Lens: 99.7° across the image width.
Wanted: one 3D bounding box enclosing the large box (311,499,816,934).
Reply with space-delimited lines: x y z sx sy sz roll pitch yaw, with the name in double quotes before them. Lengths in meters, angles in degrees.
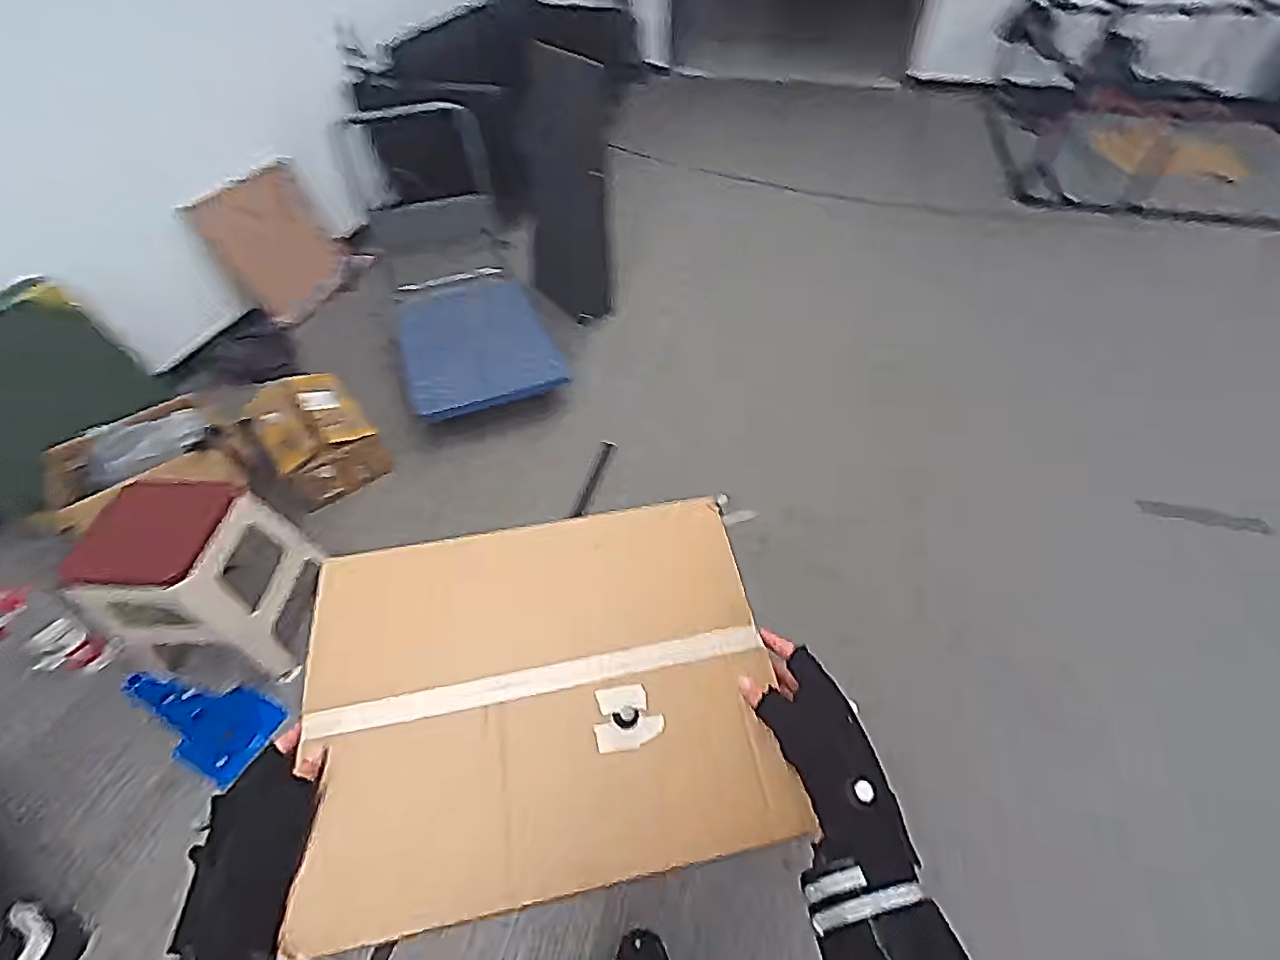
"large box" -0.080 0.256 0.620 0.408 0.320 0.320 -8 59 -7
